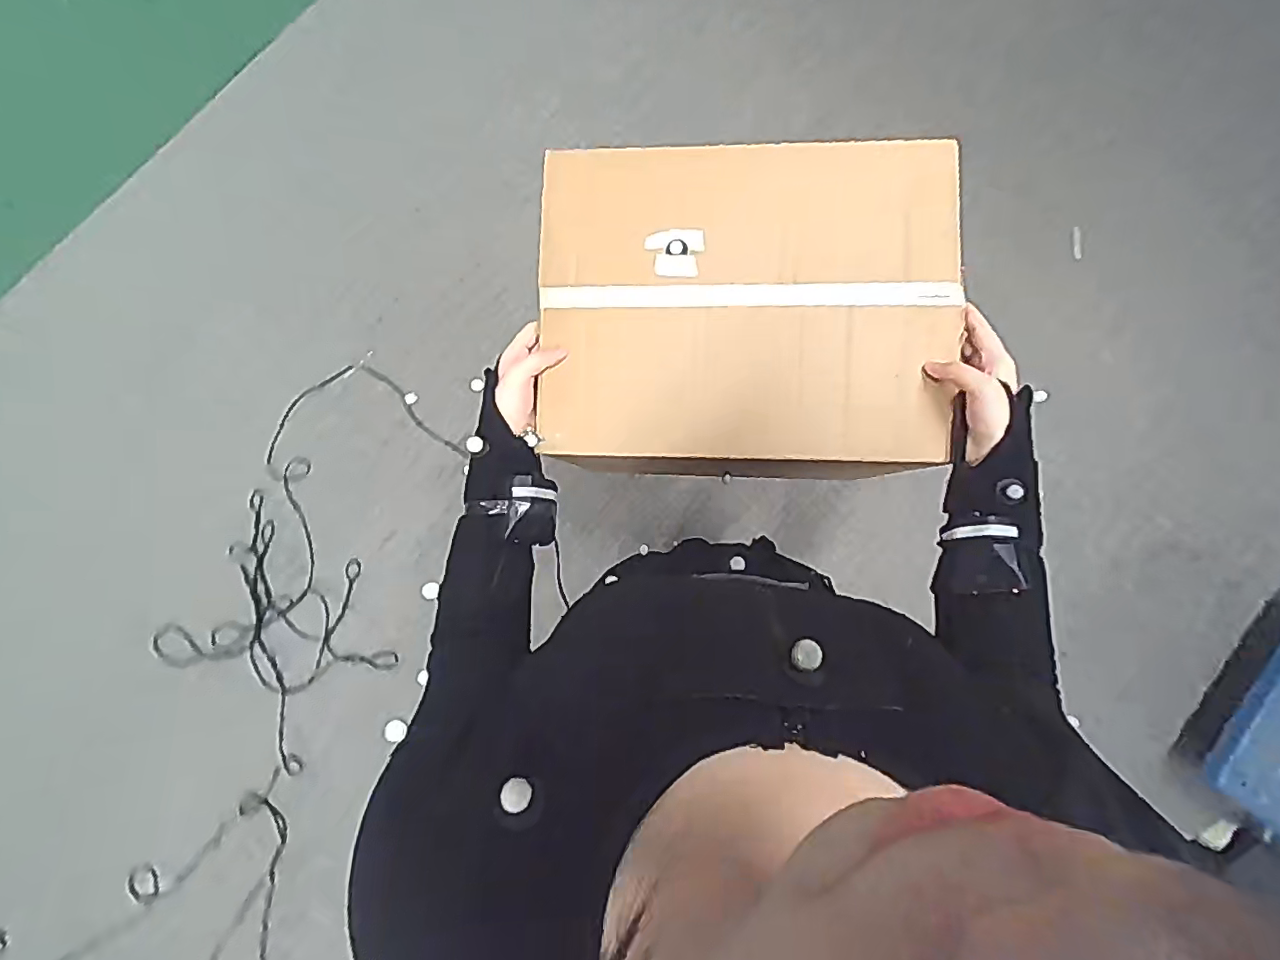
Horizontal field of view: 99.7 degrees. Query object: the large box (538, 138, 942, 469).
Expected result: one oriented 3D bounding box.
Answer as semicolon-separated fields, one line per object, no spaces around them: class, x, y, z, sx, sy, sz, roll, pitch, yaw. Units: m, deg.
large box;0.108;-0.174;0.689;0.408;0.320;0.320;0;87;6
